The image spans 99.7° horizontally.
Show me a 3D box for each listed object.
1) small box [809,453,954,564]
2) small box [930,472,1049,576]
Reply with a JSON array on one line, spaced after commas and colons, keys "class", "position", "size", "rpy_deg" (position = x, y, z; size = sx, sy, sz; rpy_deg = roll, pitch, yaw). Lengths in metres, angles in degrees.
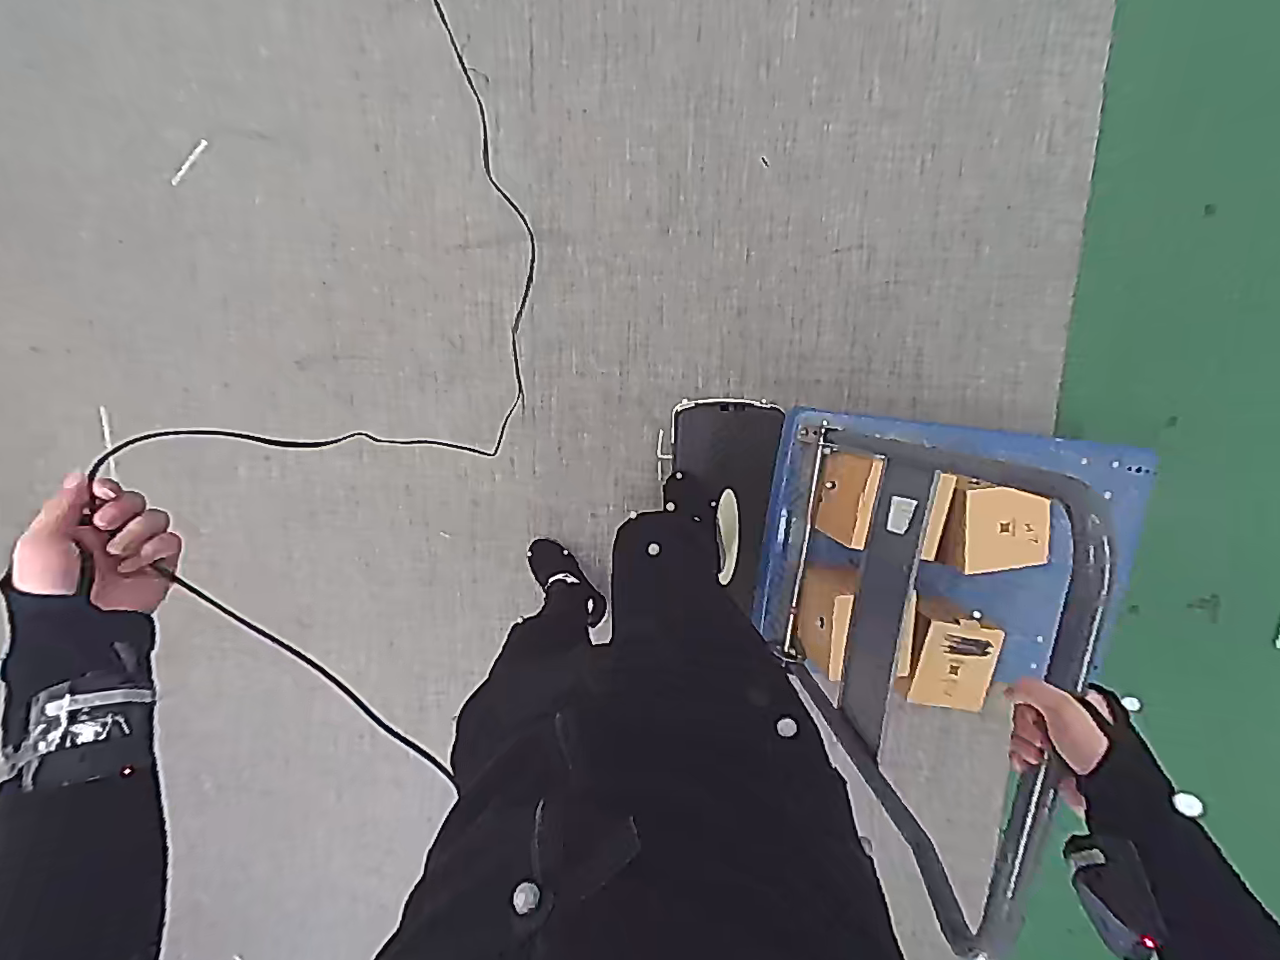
[{"class": "small box", "position": [0.460, 0.048, 1.055], "size": [0.179, 0.176, 0.168], "rpy_deg": [10, 99, -8]}, {"class": "small box", "position": [0.670, 0.081, 1.087], "size": [0.179, 0.176, 0.168], "rpy_deg": [-6, 101, -6]}]
